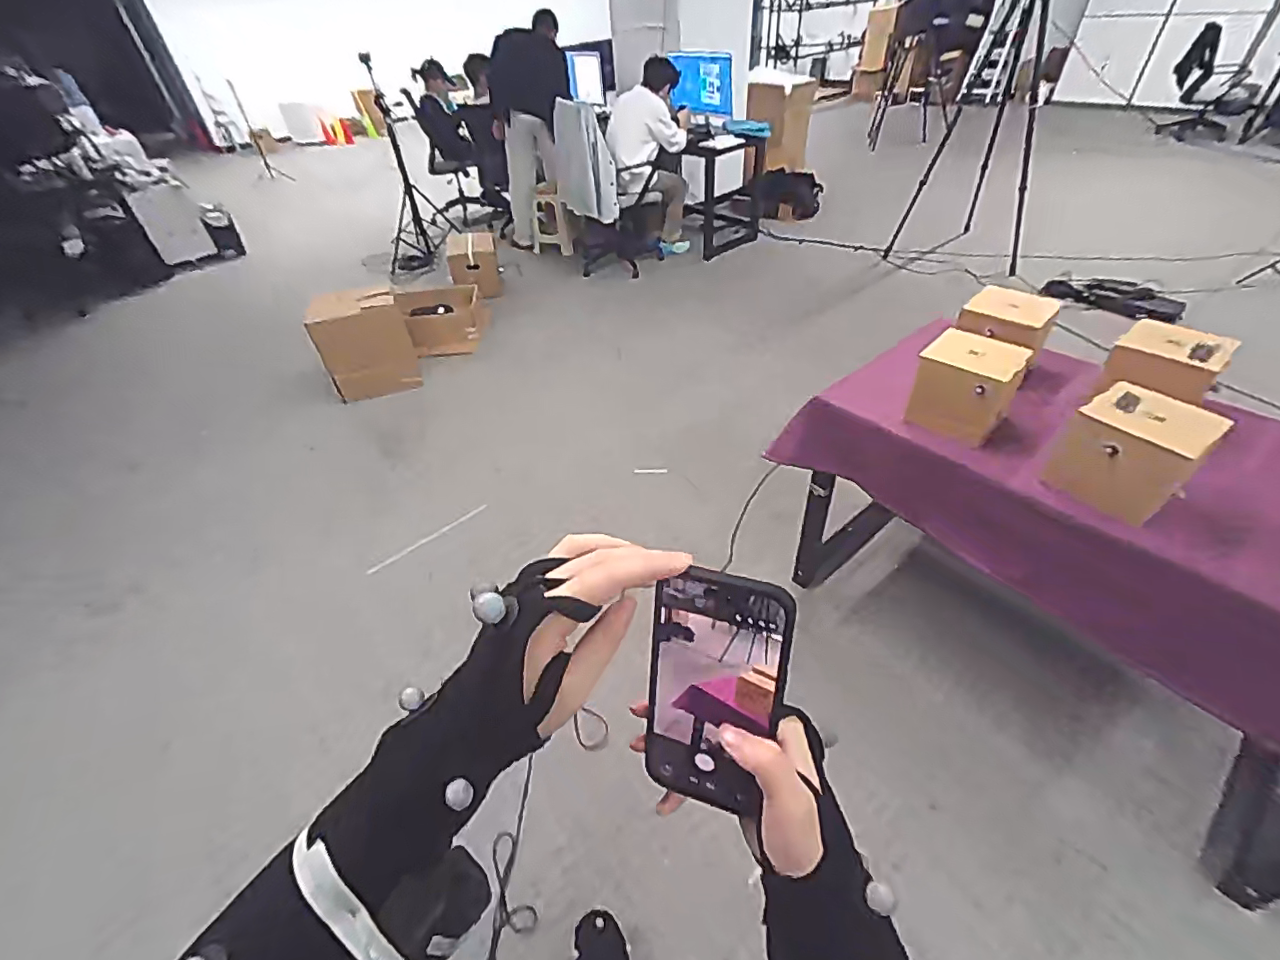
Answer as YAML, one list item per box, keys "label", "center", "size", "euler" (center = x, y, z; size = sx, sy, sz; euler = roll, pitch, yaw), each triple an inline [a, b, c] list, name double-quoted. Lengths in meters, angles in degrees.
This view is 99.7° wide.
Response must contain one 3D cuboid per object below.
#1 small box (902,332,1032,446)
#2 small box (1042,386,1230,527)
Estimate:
- label: "small box"
  center: [0.715, -0.202, 1.200]
  size: [0.179, 0.176, 0.168]
  euler: [32, 53, 32]
- label: "small box"
  center: [0.905, -0.045, 1.005]
  size: [0.168, 0.176, 0.179]
  euler: [-26, 47, -23]
